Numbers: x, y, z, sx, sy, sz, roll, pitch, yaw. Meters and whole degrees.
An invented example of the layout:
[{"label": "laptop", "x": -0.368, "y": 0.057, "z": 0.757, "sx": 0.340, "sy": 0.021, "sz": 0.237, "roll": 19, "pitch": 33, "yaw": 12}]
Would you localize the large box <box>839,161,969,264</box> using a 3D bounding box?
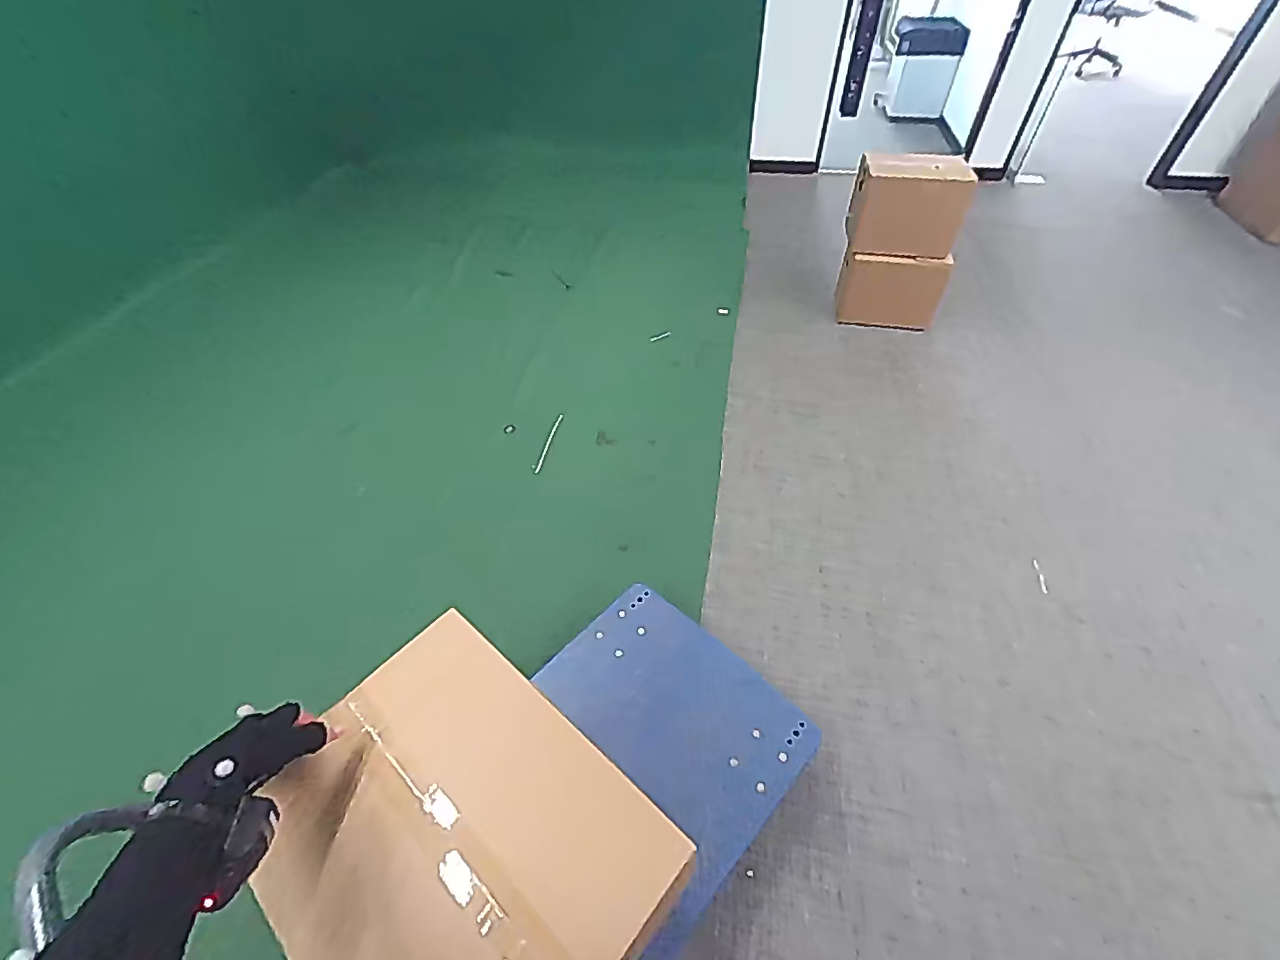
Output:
[{"label": "large box", "x": 1.112, "y": -1.155, "z": 2.332, "sx": 0.408, "sy": 0.320, "sz": 0.320, "roll": 8, "pitch": 46, "yaw": 7}]
